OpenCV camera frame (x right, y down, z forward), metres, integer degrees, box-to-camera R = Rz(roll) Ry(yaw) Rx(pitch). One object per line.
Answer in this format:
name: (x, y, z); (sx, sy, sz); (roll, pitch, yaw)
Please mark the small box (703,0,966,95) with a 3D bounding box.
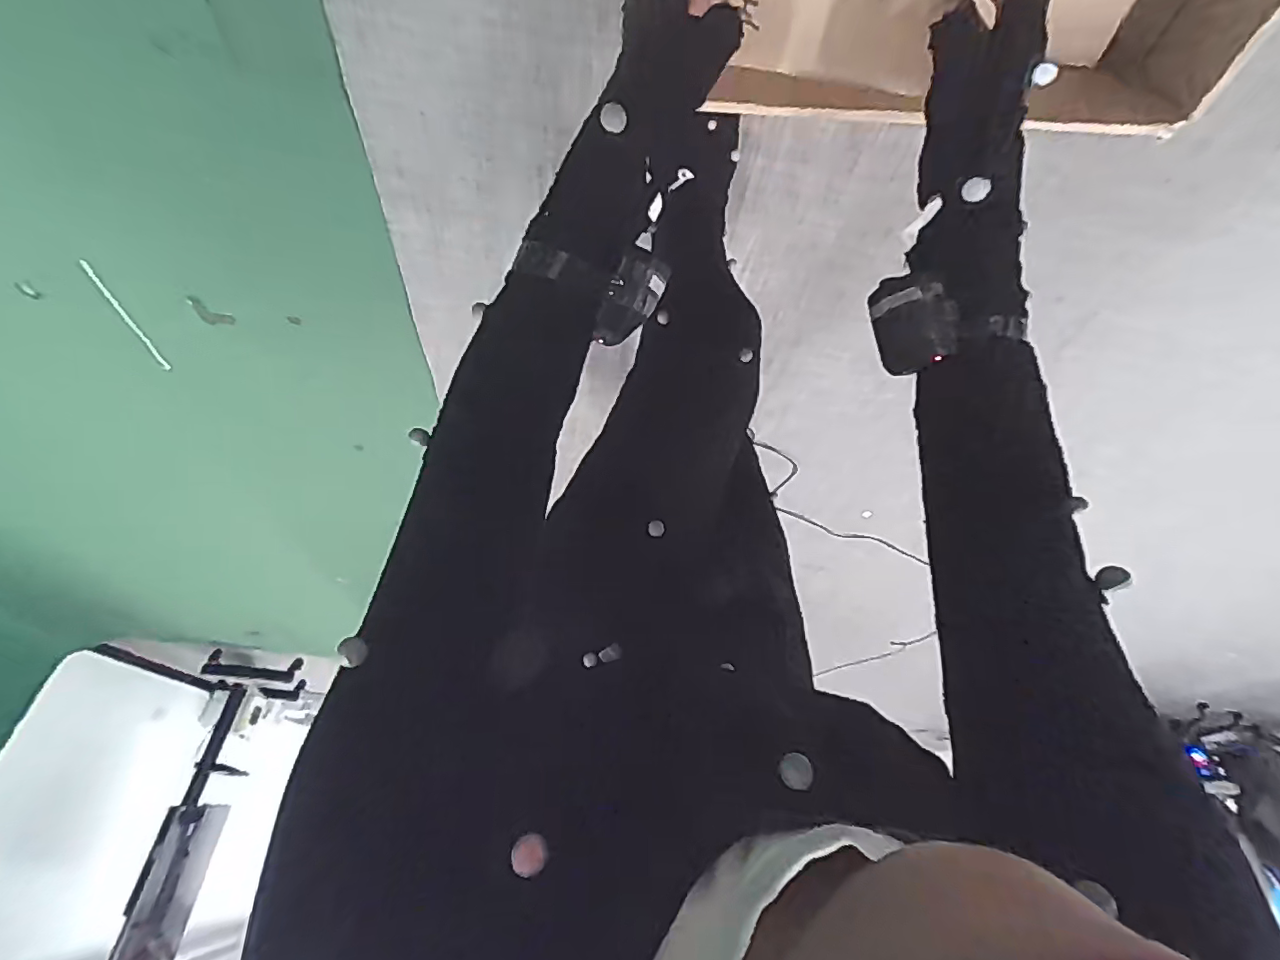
small box: (0.150, -0.421, 0.402); (0.179, 0.176, 0.168); (9, 140, -2)
